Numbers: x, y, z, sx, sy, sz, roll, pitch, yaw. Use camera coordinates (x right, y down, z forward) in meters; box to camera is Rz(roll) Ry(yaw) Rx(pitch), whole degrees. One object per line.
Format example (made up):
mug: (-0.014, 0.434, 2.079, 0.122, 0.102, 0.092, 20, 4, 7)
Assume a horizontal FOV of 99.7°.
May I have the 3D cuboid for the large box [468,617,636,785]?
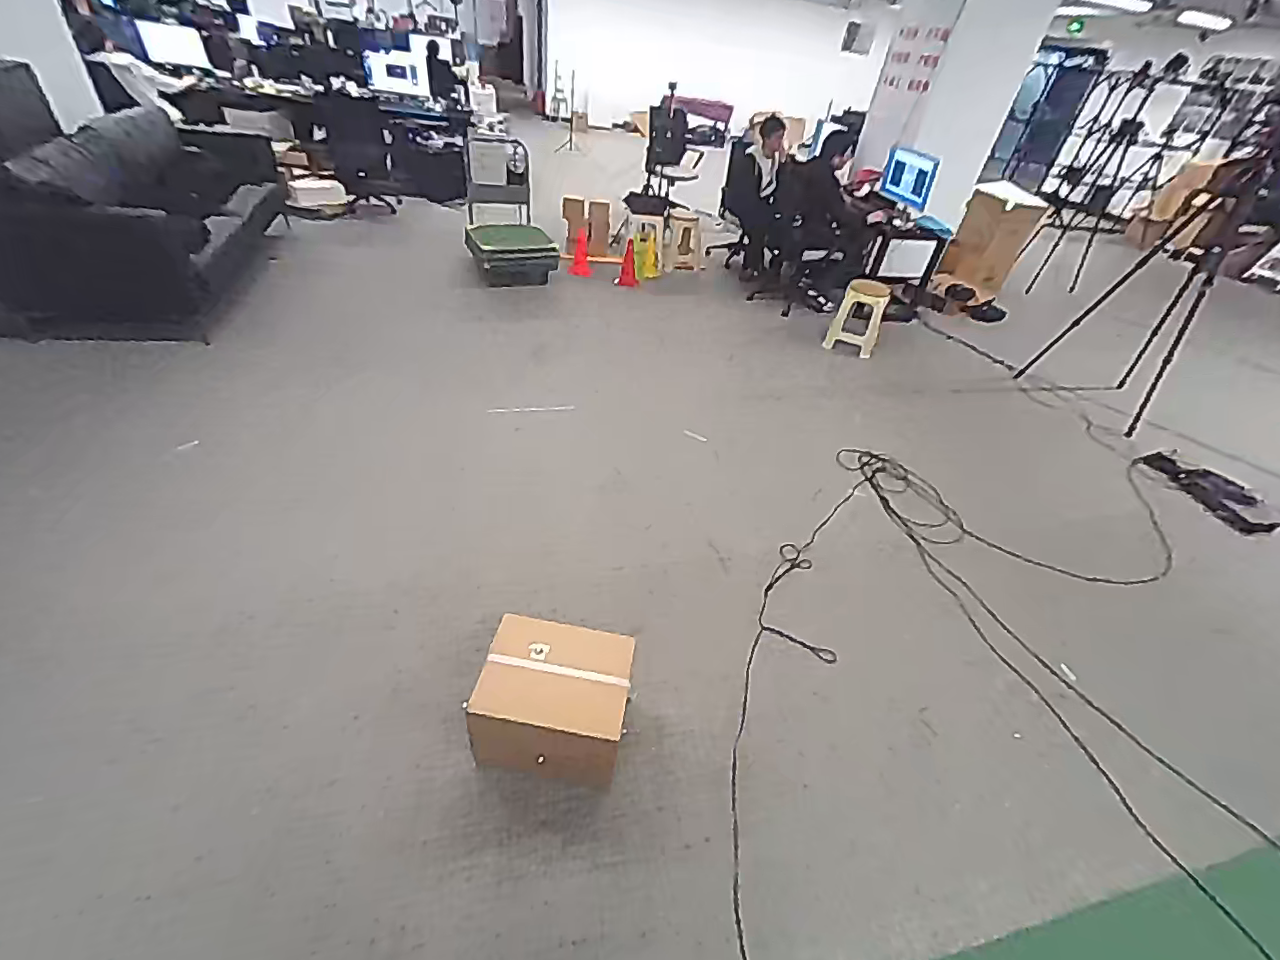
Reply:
large box: (-0.238, 0.647, 1.584, 0.408, 0.320, 0.320, 9, 39, 3)
